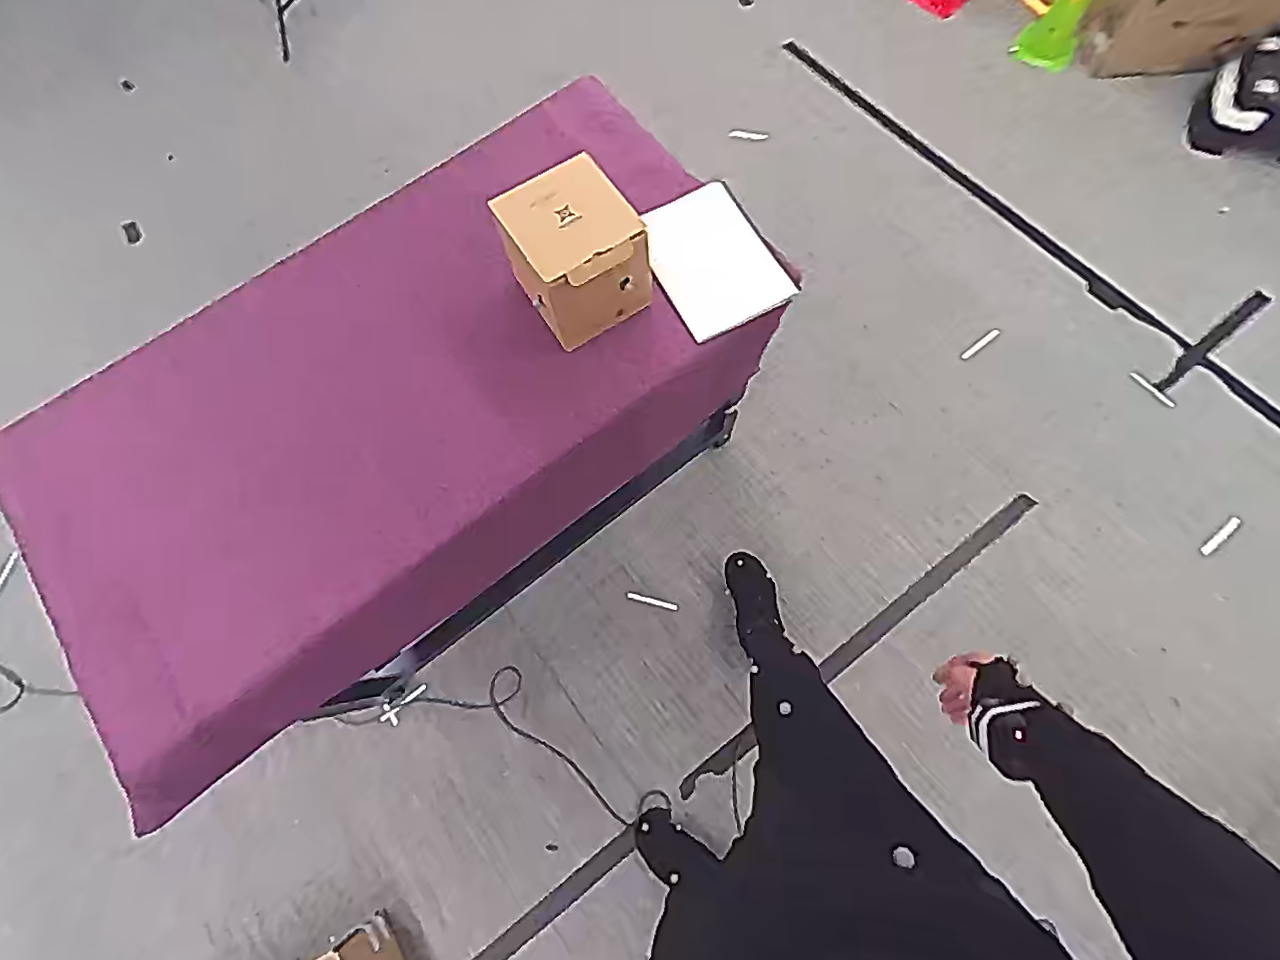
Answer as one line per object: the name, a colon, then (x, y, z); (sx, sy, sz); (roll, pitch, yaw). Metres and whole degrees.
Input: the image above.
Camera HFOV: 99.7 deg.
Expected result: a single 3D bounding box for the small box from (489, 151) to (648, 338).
small box: (-0.098, -0.343, 0.824); (0.168, 0.176, 0.179); (-32, 73, -8)
